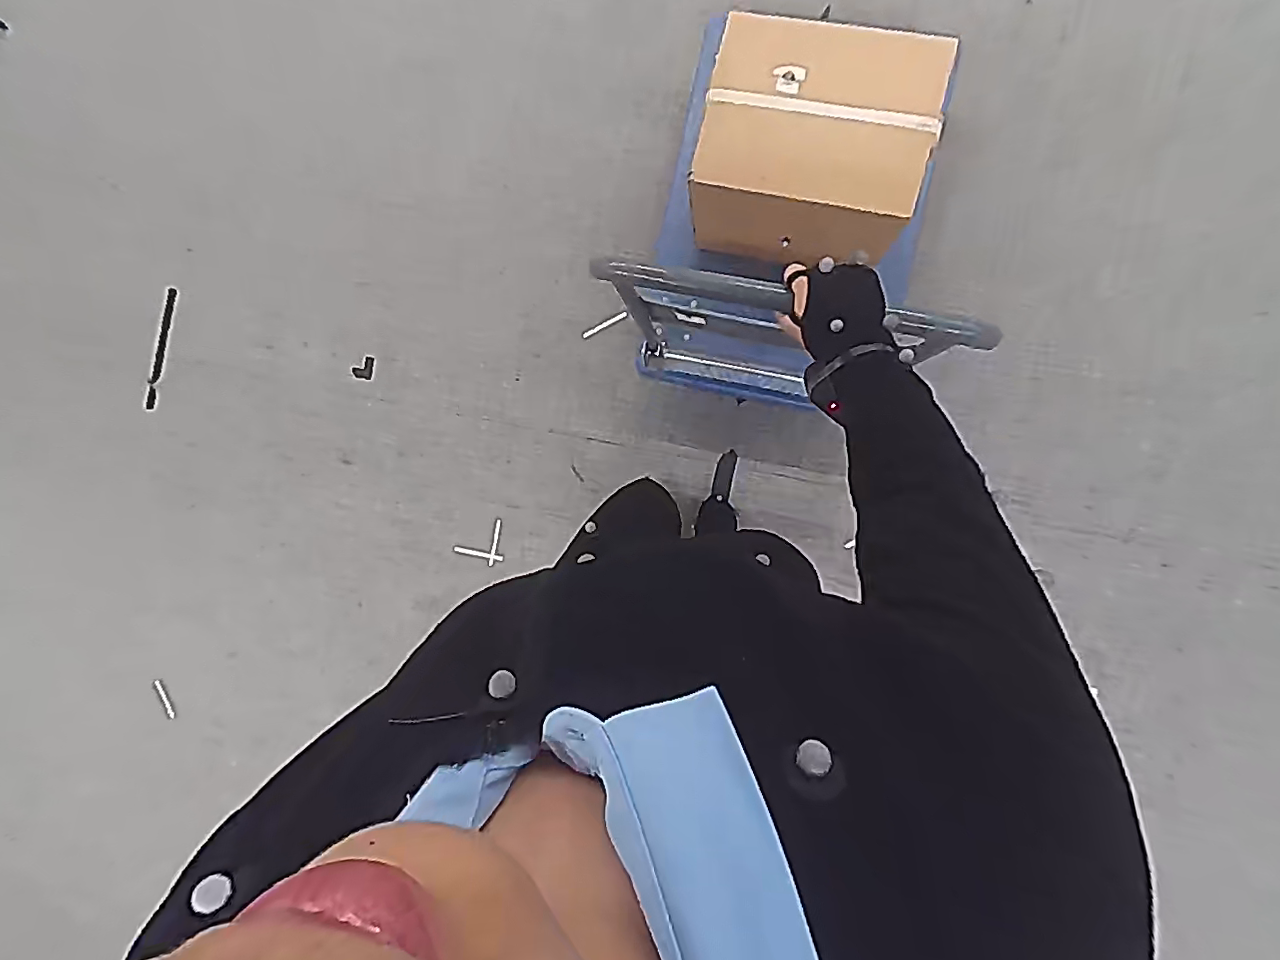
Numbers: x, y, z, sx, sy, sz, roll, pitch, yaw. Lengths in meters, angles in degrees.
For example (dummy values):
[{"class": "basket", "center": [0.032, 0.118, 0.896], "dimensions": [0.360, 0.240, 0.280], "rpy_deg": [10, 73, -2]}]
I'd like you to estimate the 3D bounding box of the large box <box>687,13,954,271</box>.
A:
[{"class": "large box", "center": [0.337, -0.656, 1.098], "dimensions": [0.408, 0.320, 0.320], "rpy_deg": [14, 92, 10]}]
